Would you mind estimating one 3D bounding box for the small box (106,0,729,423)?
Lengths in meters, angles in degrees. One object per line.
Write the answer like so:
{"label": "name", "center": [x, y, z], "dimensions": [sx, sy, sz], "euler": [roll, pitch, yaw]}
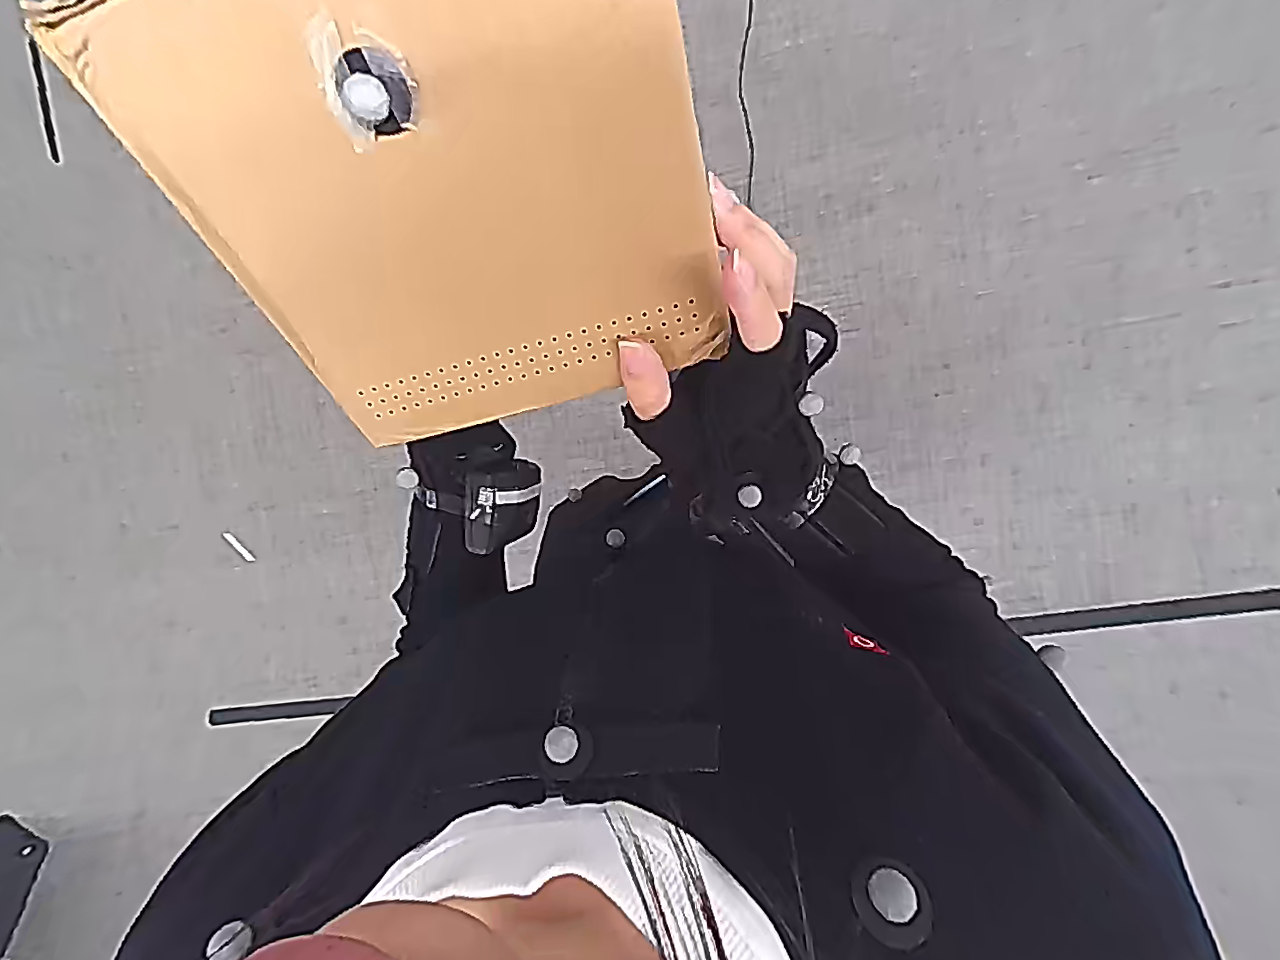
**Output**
{"label": "small box", "center": [-0.065, -0.150, 0.264], "dimensions": [0.179, 0.176, 0.168], "euler": [-13, 45, 9]}
